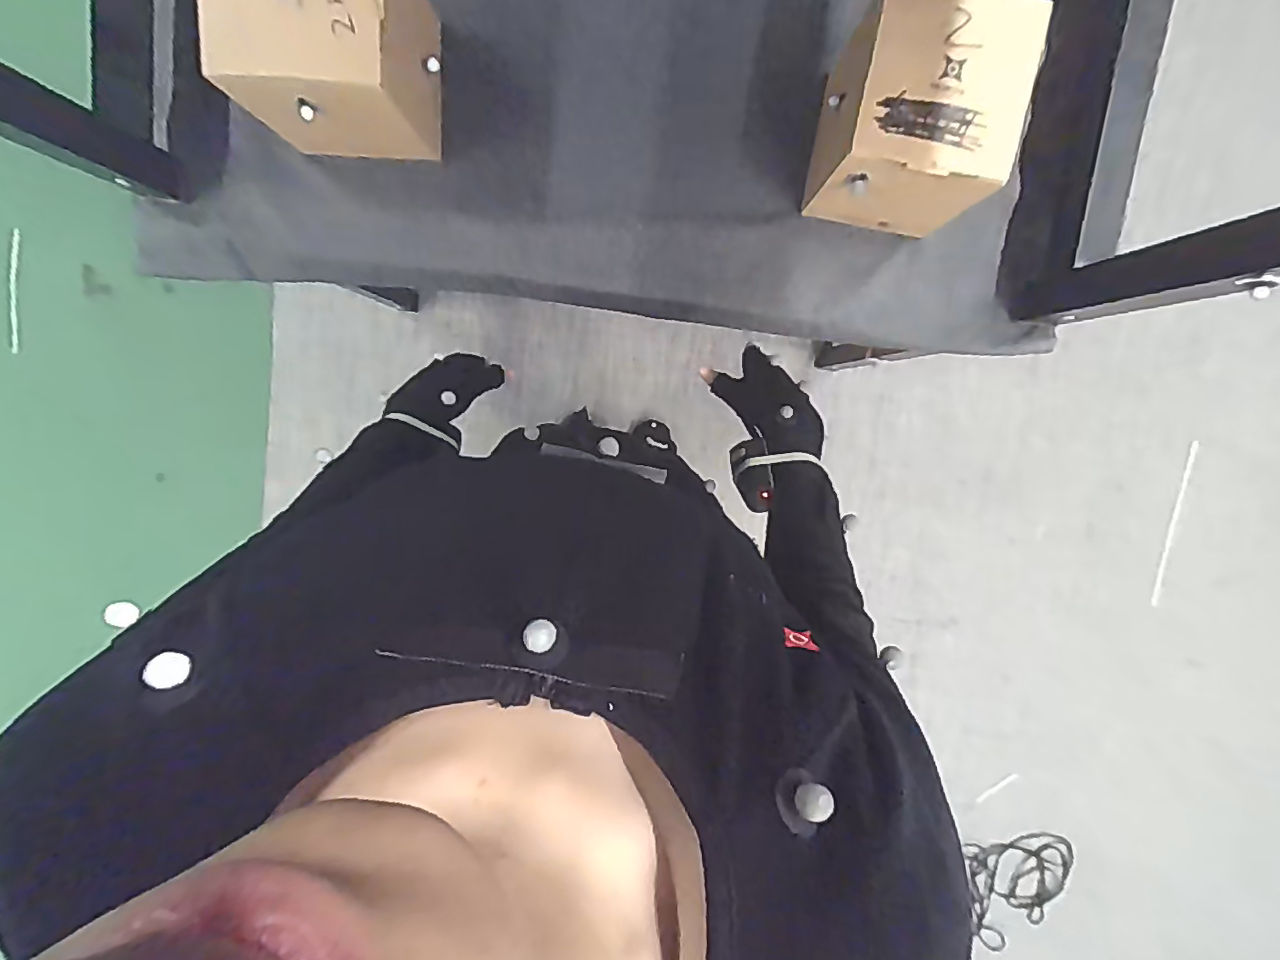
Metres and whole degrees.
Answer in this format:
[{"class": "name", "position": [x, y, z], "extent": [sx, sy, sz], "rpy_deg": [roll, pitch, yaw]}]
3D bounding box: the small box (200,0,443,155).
[{"class": "small box", "position": [-0.335, -0.484, 0.595], "extent": [0.179, 0.176, 0.168], "rpy_deg": [3, 99, -2]}]
